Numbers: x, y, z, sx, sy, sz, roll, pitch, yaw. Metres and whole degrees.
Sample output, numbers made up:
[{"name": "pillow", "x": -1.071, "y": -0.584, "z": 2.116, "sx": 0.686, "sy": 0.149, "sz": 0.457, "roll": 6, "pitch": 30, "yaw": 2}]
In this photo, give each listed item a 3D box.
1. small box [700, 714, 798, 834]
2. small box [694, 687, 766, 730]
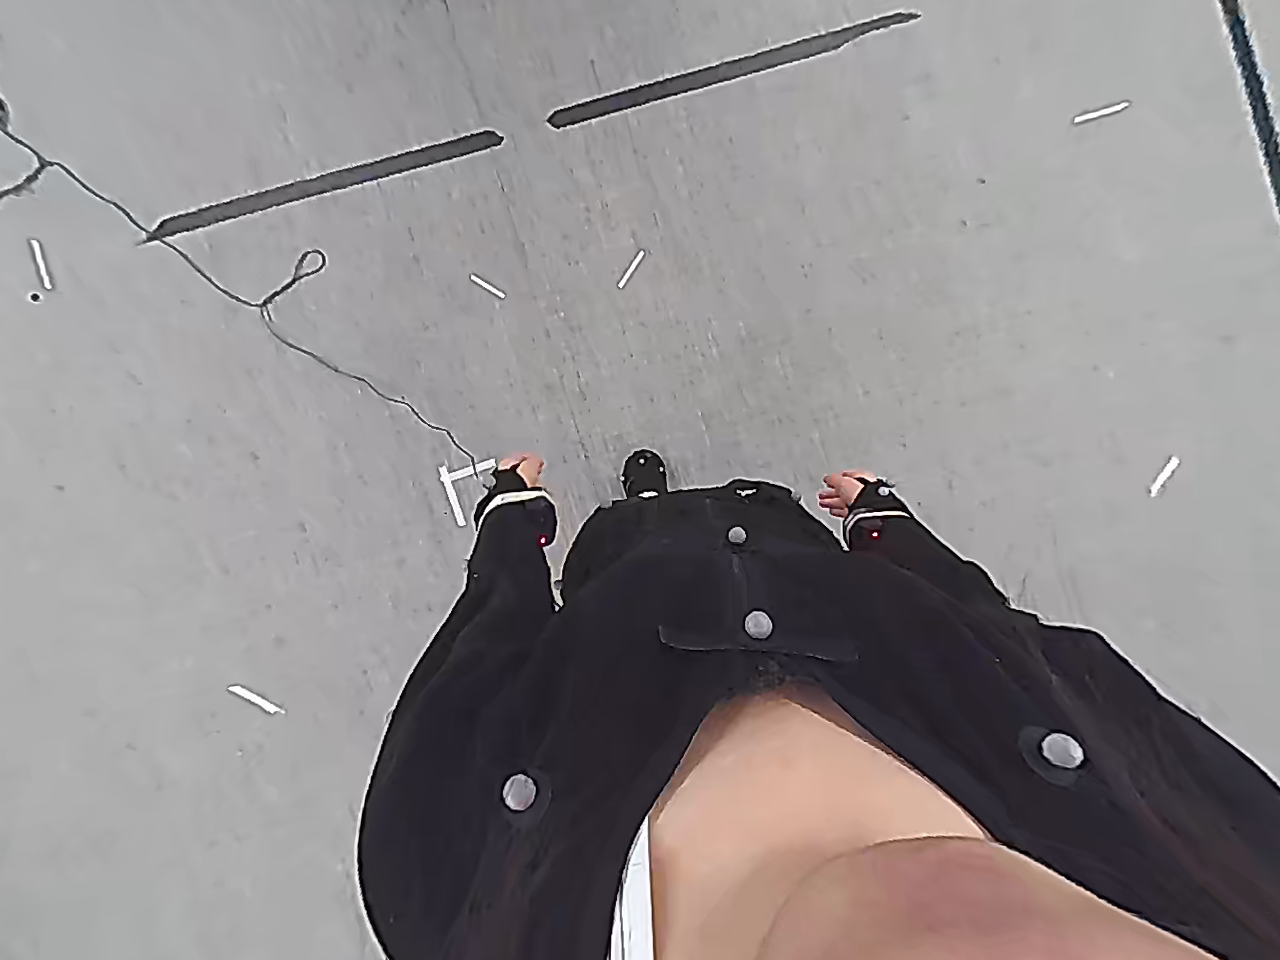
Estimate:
[{"name": "small box", "x": 0.247, "y": 0.677, "z": 1.273, "sx": 0.168, "sy": 0.176, "sz": 0.179, "roll": -19, "pitch": 92, "yaw": 1}, {"name": "small box", "x": 0.250, "y": 0.672, "z": 1.435, "sx": 0.168, "sy": 0.176, "sz": 0.179, "roll": -19, "pitch": 91, "yaw": 1}]
